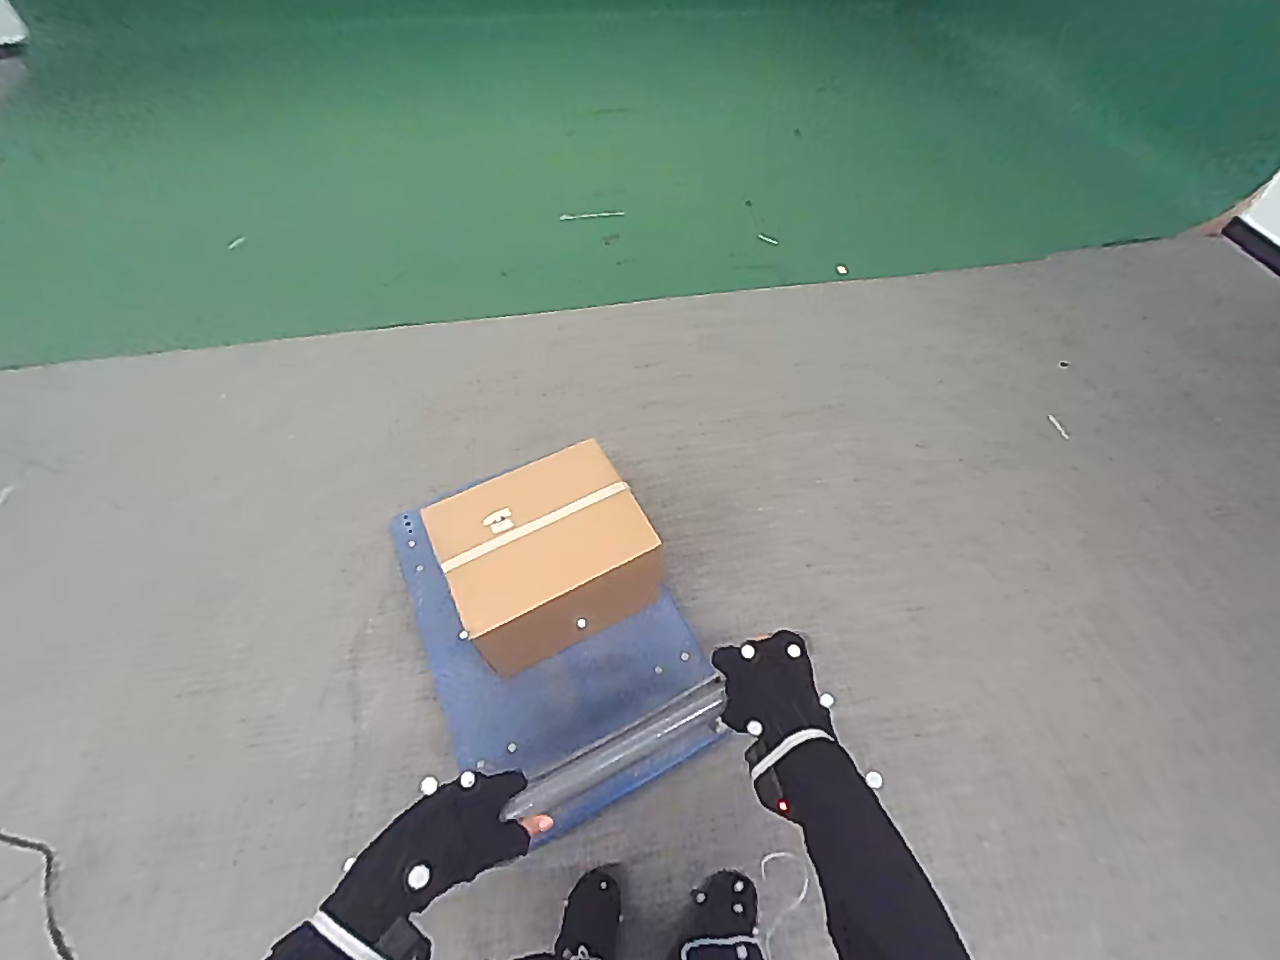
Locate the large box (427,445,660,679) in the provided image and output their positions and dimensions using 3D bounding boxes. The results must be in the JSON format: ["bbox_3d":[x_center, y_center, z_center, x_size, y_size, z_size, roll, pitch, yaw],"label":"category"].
[{"bbox_3d":[-0.202,0.190,1.239,0.408,0.320,0.320,-25,59,-15],"label":"large box"}]
